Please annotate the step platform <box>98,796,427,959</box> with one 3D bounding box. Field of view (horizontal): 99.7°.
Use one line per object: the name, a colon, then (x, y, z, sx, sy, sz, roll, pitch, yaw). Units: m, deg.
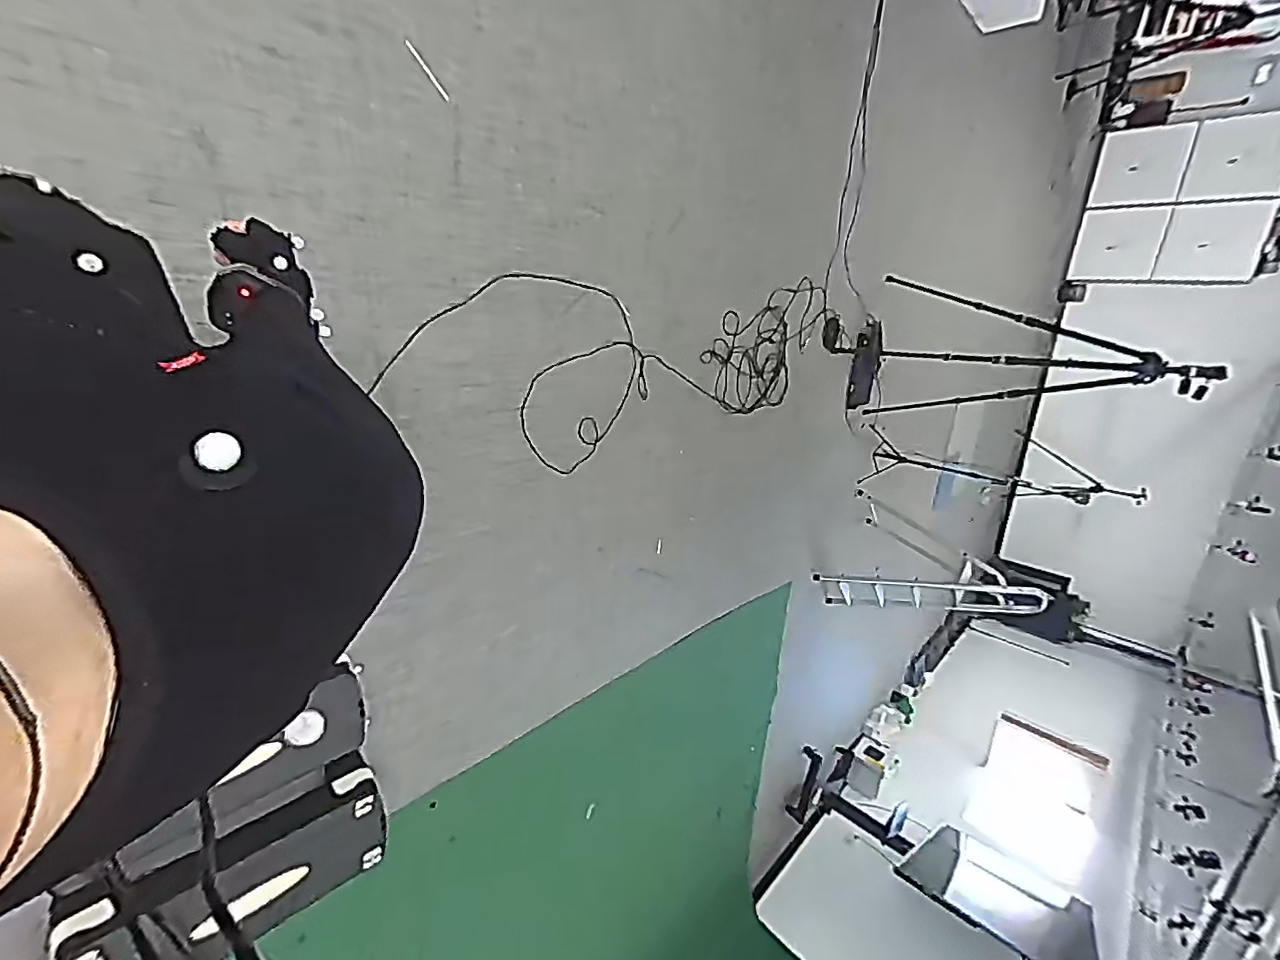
step platform: (-0.891, 1.098, 1.307, 0.684, 0.204, 0.286, -16, 115, -45)
